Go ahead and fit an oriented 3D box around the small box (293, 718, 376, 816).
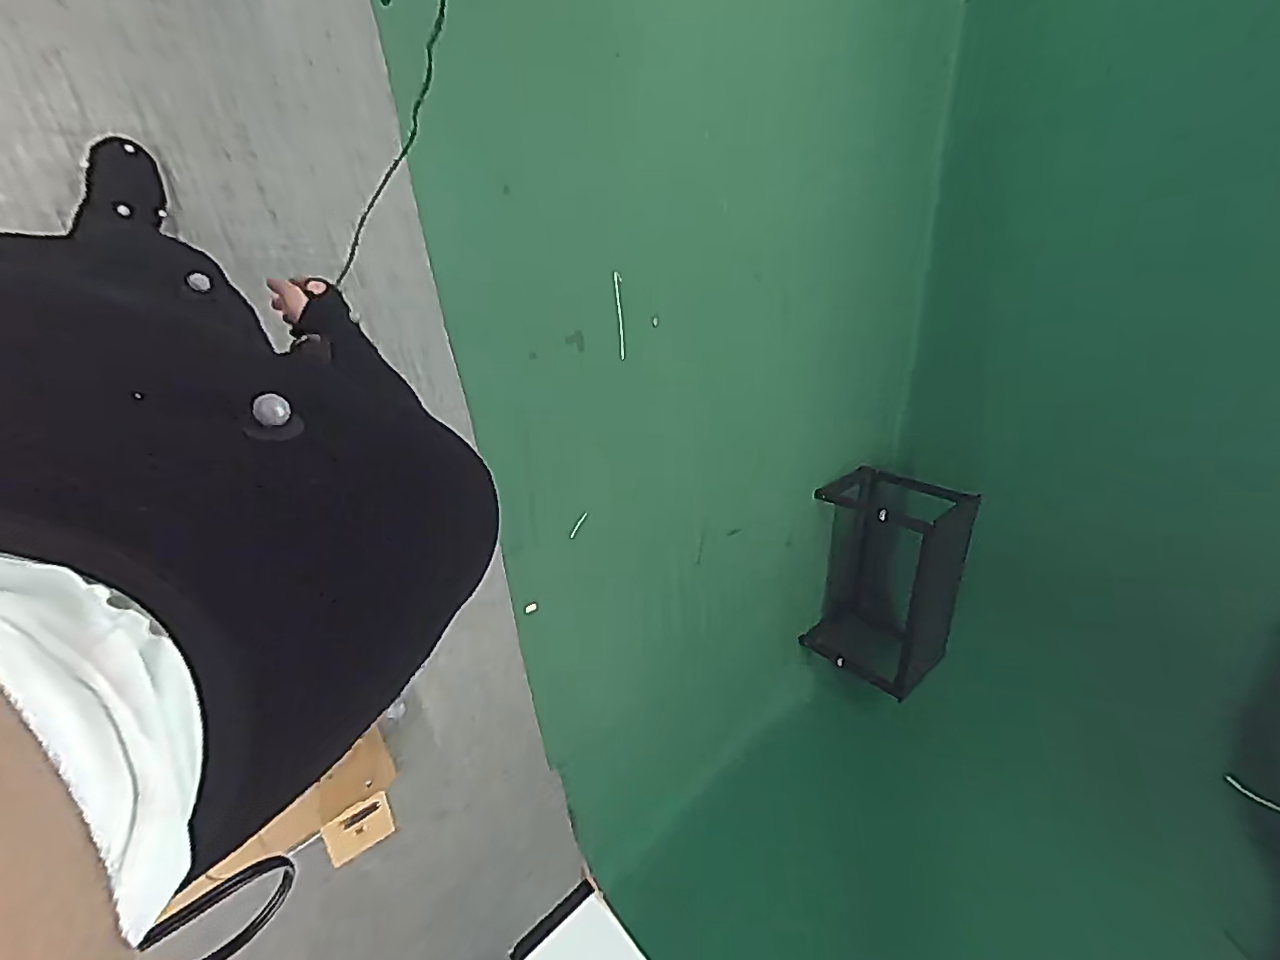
[{"bbox_3d":[-0.957,0.888,1.692,0.179,0.176,0.168,-18,119,-35],"label":"small box"}]
